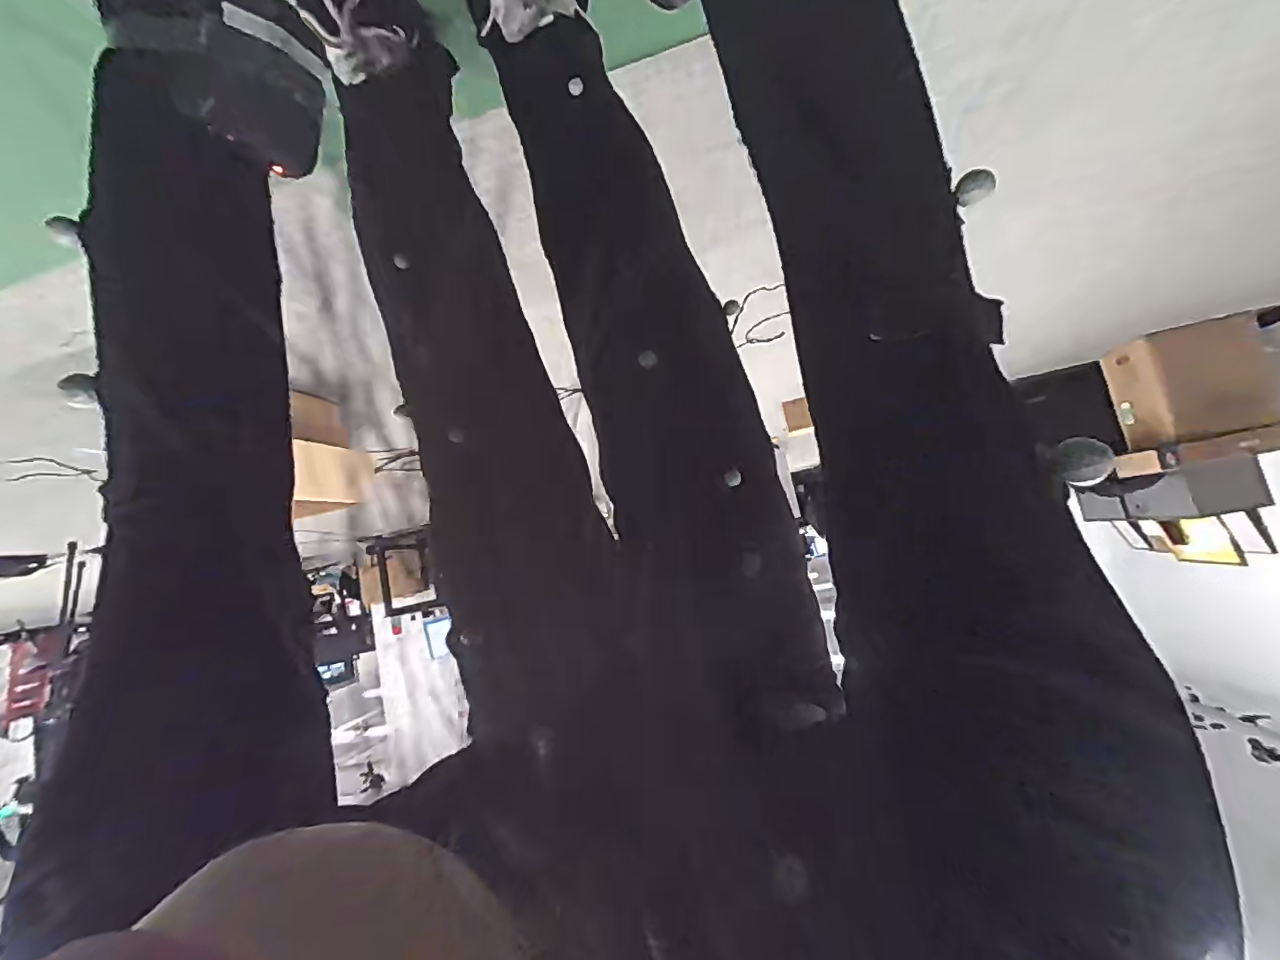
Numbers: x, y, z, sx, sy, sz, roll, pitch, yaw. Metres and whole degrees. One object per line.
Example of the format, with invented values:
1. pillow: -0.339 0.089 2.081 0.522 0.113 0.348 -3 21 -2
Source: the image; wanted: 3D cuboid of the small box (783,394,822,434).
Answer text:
1. small box: 0.872 -0.356 2.914 0.168 0.176 0.179 -14 173 12
